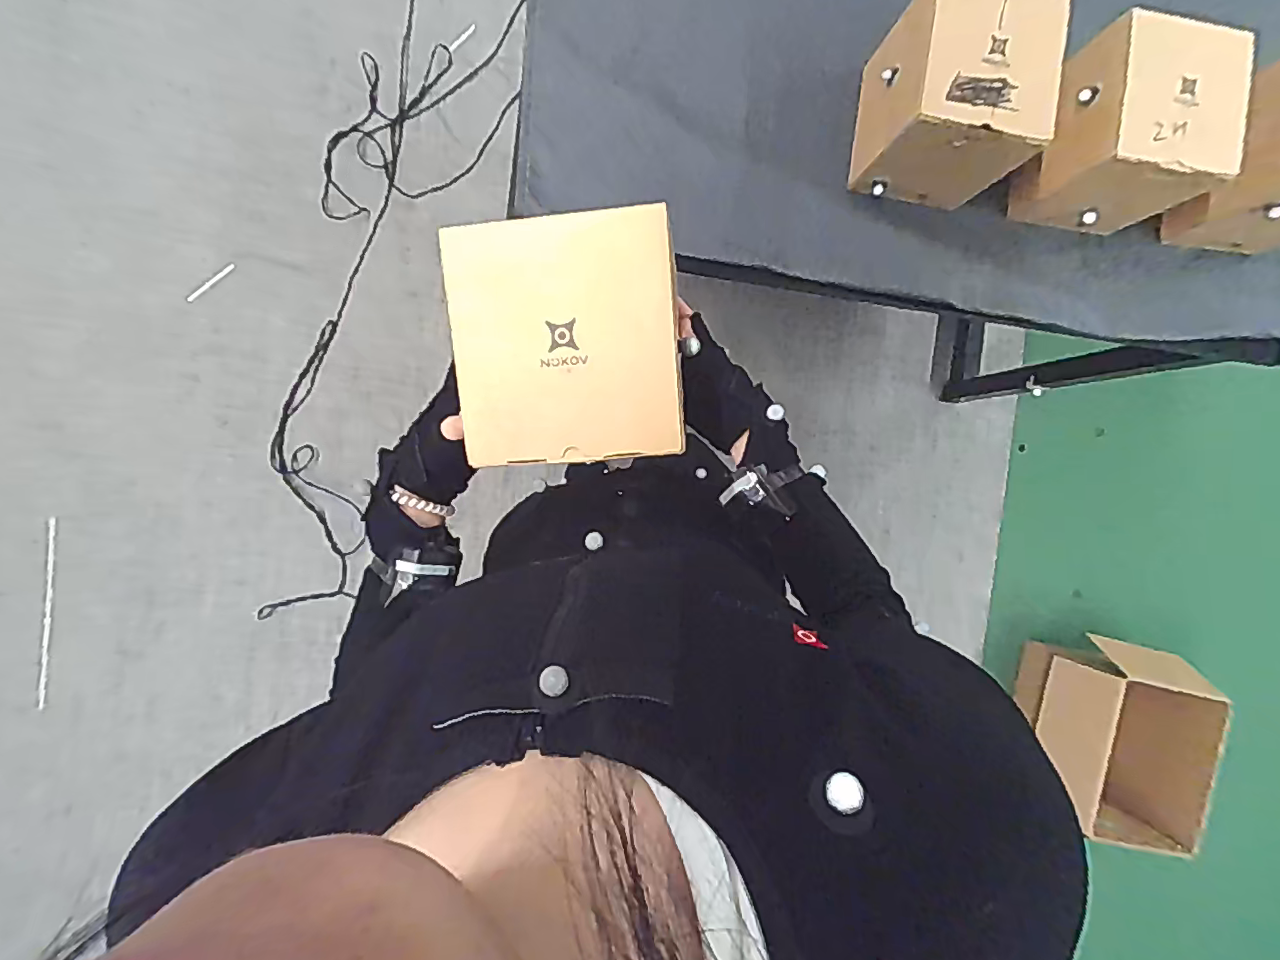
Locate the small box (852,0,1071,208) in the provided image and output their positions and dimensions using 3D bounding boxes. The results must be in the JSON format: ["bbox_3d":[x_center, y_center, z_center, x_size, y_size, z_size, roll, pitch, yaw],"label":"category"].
[{"bbox_3d":[0.393,-0.479,0.691,0.168,0.176,0.179,8,90,-7],"label":"small box"}]

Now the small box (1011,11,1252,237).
[{"bbox_3d":[0.633,-0.453,0.717,0.168,0.176,0.179,6,91,-6],"label":"small box"}]

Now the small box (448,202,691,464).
[{"bbox_3d":[-0.046,-0.115,0.469,0.168,0.176,0.179,-4,100,5],"label":"small box"}]
